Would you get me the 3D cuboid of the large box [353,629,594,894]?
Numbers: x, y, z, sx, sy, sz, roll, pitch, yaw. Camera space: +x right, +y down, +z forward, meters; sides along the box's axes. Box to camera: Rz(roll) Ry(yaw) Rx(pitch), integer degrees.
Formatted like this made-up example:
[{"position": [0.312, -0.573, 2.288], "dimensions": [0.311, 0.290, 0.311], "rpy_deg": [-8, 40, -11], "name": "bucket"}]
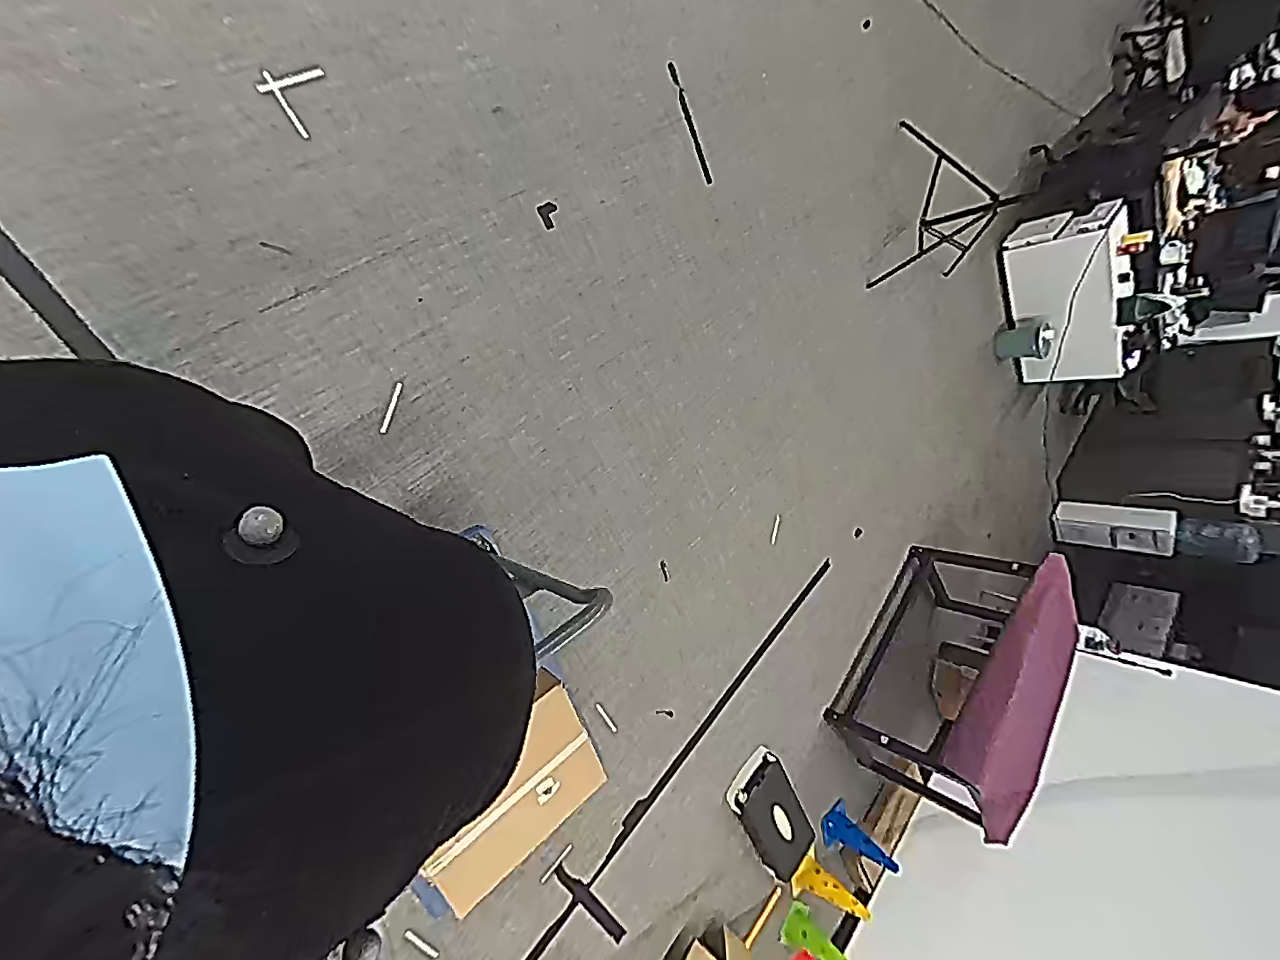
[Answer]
[{"position": [-0.392, 0.632, 1.295], "dimensions": [0.408, 0.320, 0.320], "rpy_deg": [-32, 114, -32], "name": "large box"}]
